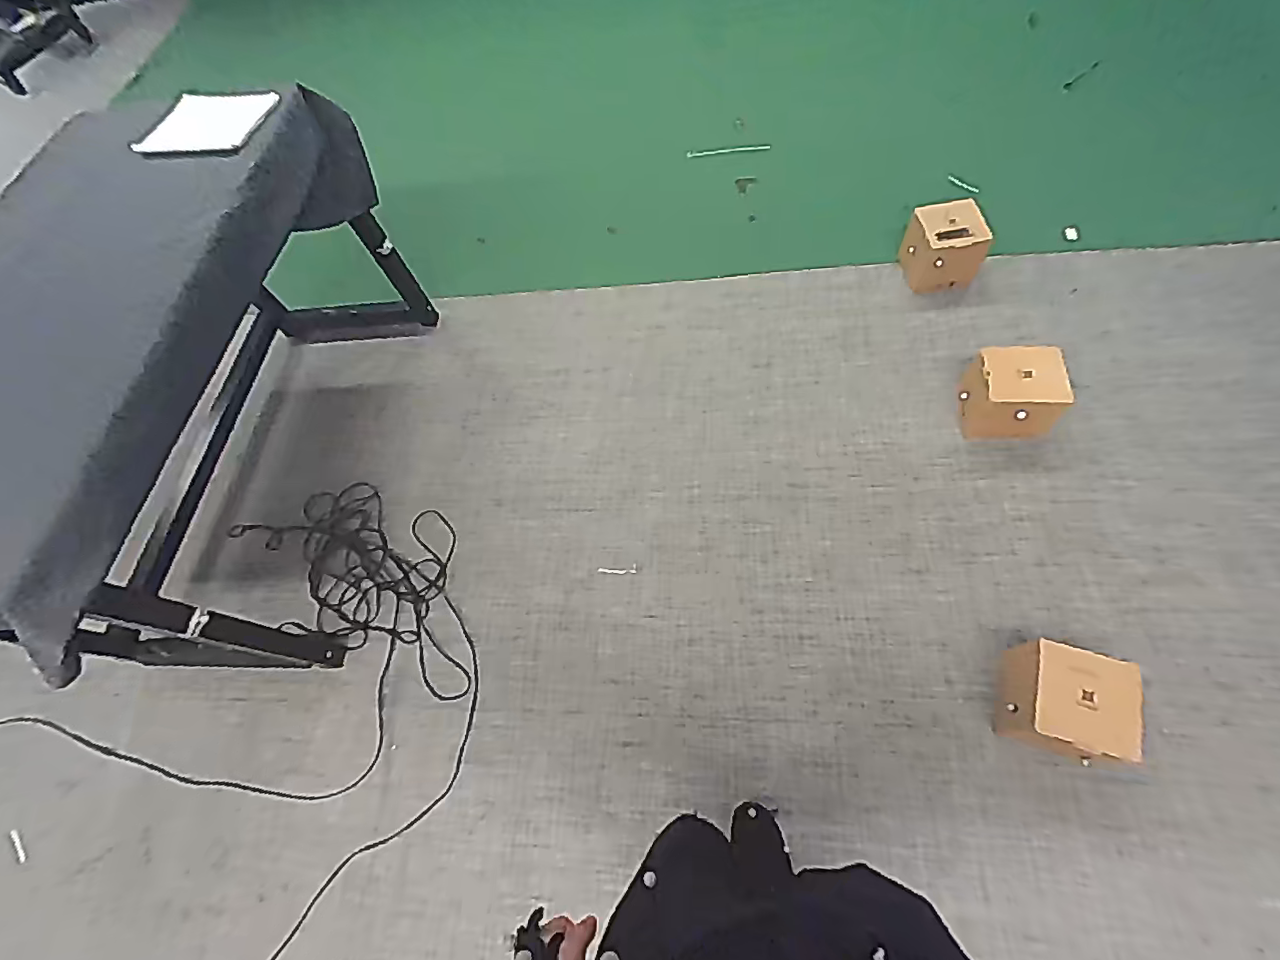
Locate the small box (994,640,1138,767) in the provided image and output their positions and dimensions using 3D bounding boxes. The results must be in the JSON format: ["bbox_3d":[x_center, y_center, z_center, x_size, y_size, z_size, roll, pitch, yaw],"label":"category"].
[{"bbox_3d":[0.814,0.434,1.047,0.168,0.176,0.179,15,66,15],"label":"small box"}]

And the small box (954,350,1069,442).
[{"bbox_3d":[0.922,-0.207,1.358,0.179,0.176,0.168,2,64,11],"label":"small box"}]
